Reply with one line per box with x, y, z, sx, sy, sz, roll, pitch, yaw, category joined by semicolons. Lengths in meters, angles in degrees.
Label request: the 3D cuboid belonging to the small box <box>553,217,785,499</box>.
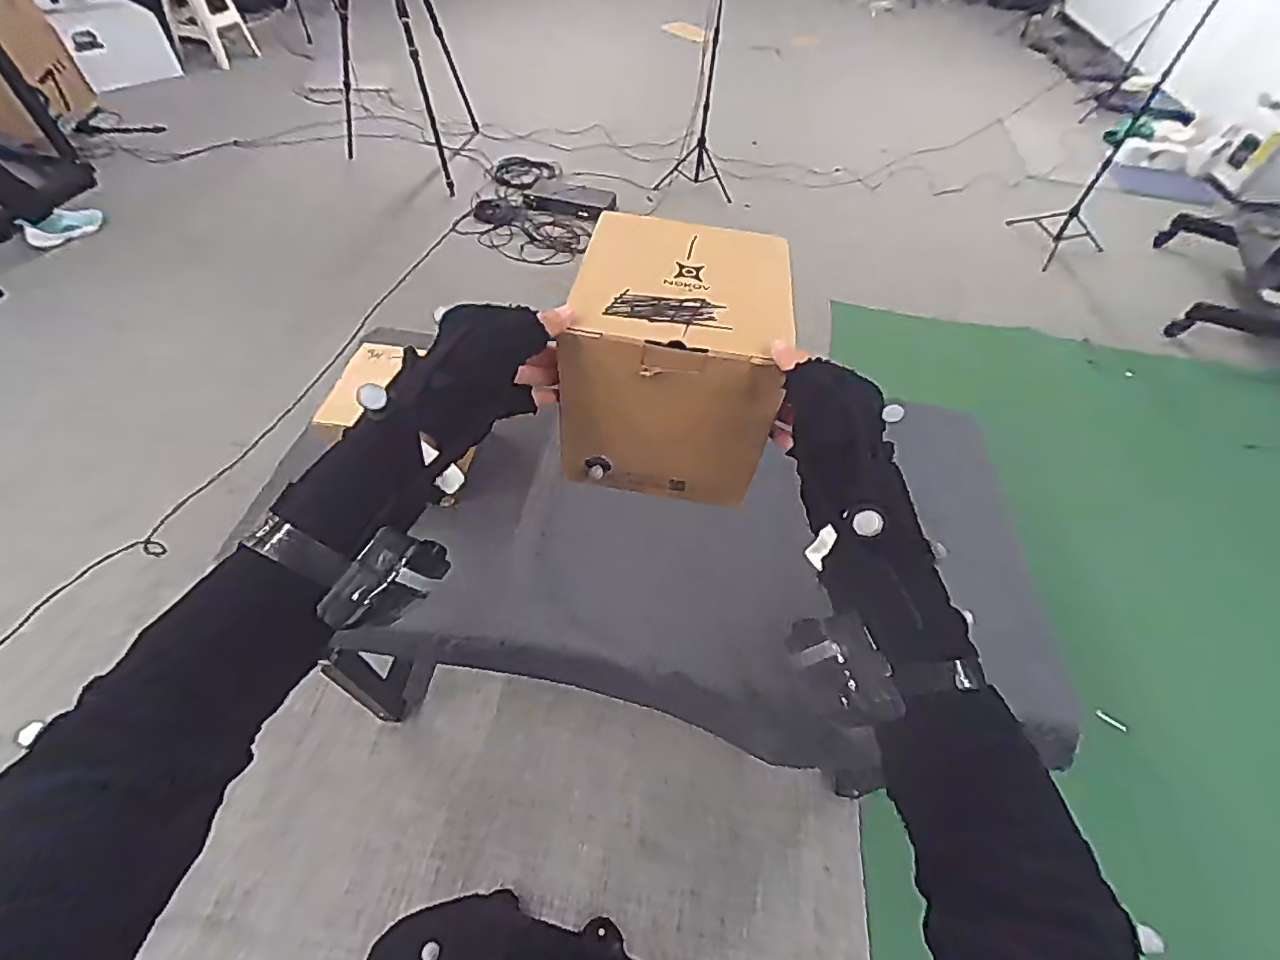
0.027;-0.104;0.485;0.168;0.176;0.179;9;50;2;small box

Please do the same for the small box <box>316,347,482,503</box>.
-0.365;-0.083;0.861;0.168;0.176;0.179;7;53;2;small box
